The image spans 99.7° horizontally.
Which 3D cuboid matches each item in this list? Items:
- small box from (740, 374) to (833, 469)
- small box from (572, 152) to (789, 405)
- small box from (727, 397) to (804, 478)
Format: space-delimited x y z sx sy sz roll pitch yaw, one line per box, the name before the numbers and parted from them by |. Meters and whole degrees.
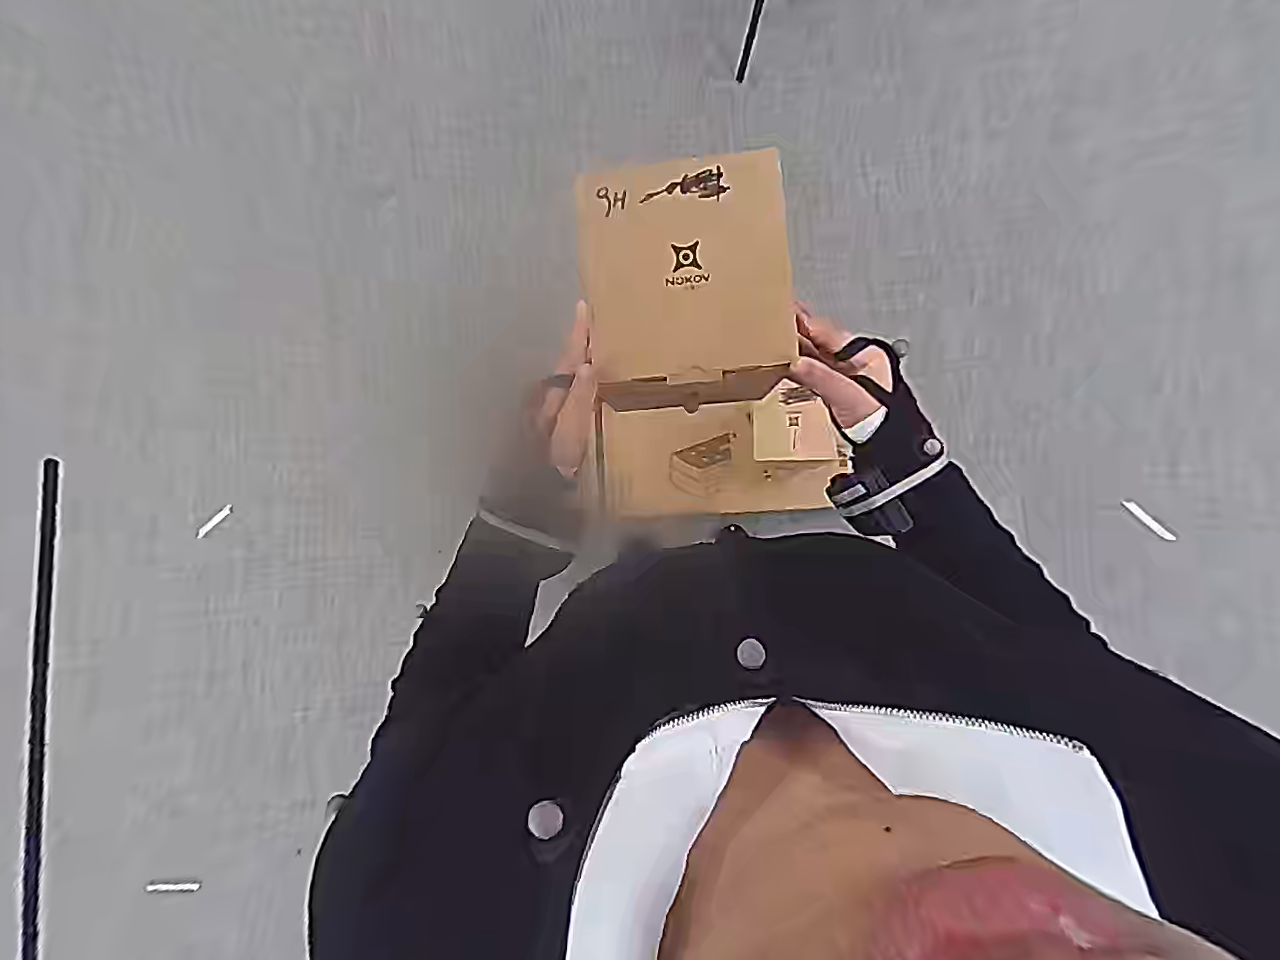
small box | 0.308 -0.121 1.167 0.168 0.176 0.179 0 85 3
small box | 0.039 -0.168 0.513 0.168 0.176 0.179 -5 91 4
small box | 0.308 -0.104 1.331 0.168 0.176 0.179 -4 85 3
